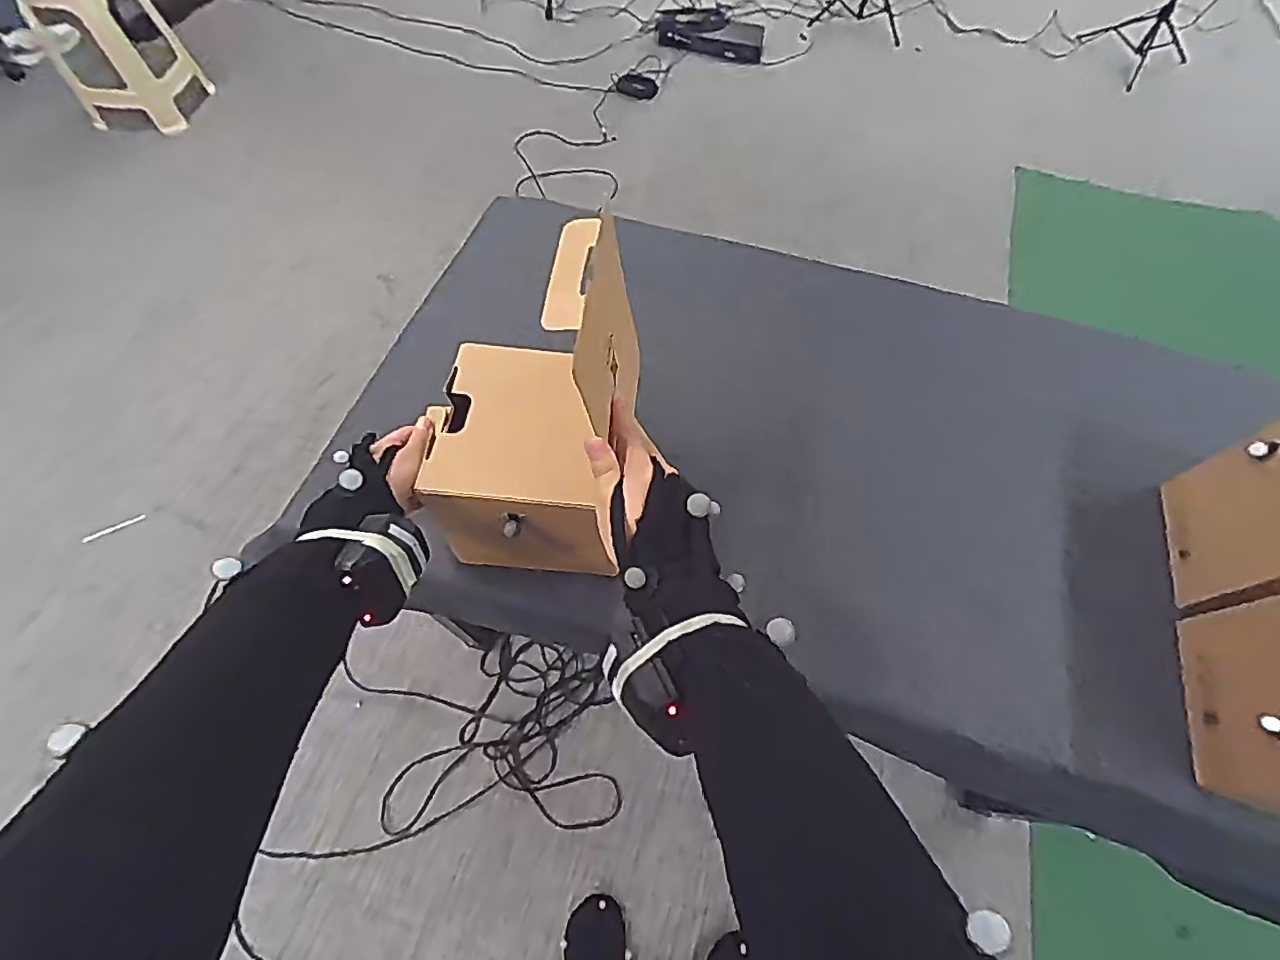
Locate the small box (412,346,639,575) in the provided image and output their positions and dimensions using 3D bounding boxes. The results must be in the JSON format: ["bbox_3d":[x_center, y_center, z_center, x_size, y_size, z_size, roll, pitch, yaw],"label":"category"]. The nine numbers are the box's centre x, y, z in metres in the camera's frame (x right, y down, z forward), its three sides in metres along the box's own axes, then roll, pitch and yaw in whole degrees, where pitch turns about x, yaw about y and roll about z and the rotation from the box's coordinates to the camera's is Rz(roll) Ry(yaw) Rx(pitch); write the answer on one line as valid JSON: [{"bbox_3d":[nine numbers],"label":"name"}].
[{"bbox_3d":[-0.098,-0.011,0.551,0.179,0.176,0.168,5,60,1],"label":"small box"}]
